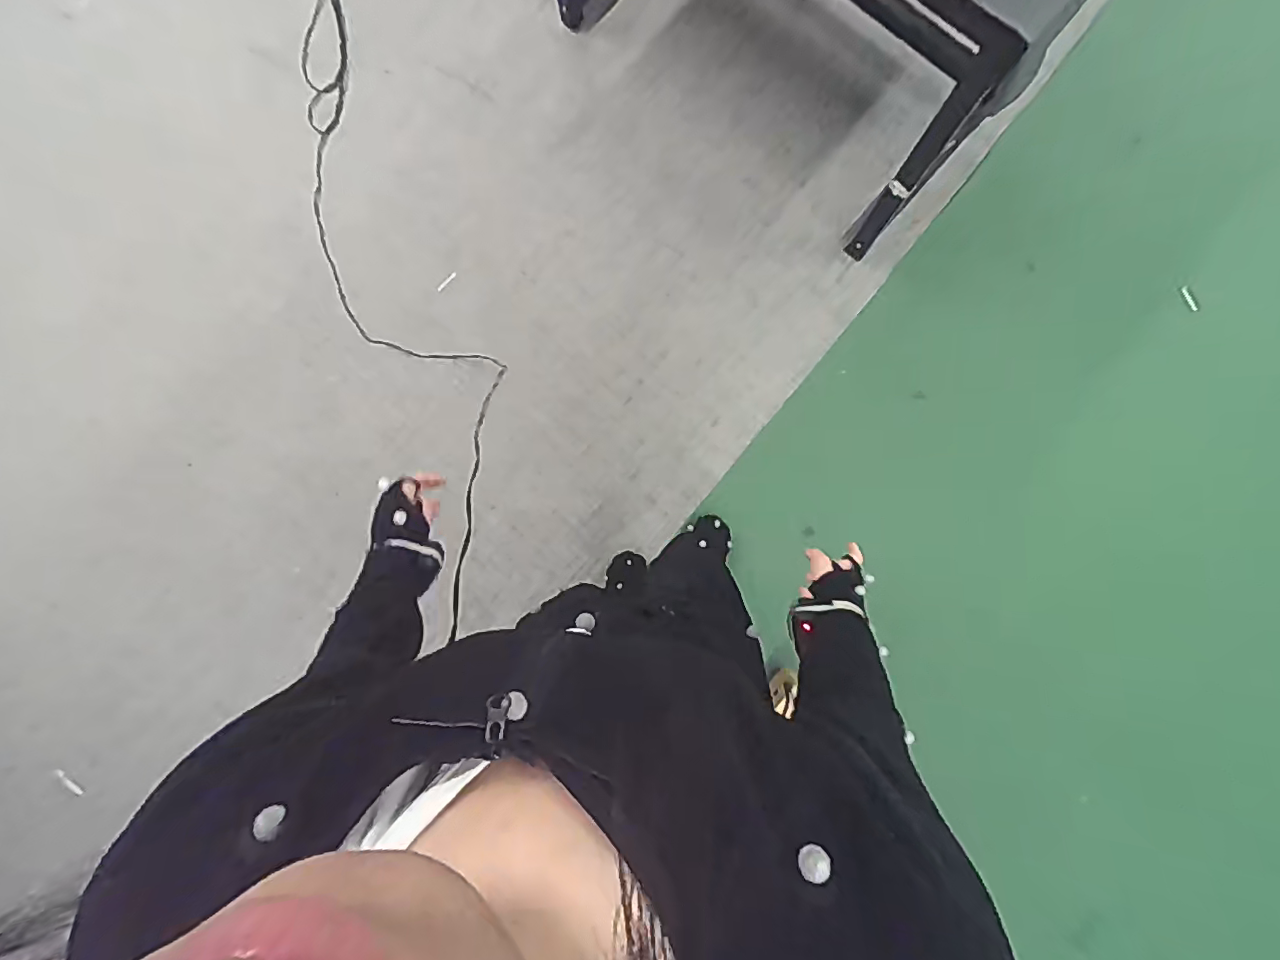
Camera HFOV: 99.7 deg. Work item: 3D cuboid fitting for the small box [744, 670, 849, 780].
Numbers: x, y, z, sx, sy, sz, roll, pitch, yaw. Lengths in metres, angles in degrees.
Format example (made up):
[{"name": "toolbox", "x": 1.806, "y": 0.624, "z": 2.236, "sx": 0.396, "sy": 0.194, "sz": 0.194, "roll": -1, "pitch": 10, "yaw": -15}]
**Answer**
[{"name": "small box", "x": 0.390, "y": 0.614, "z": 1.388, "sx": 0.179, "sy": 0.176, "sz": 0.168, "roll": 40, "pitch": 87, "yaw": 4}]
